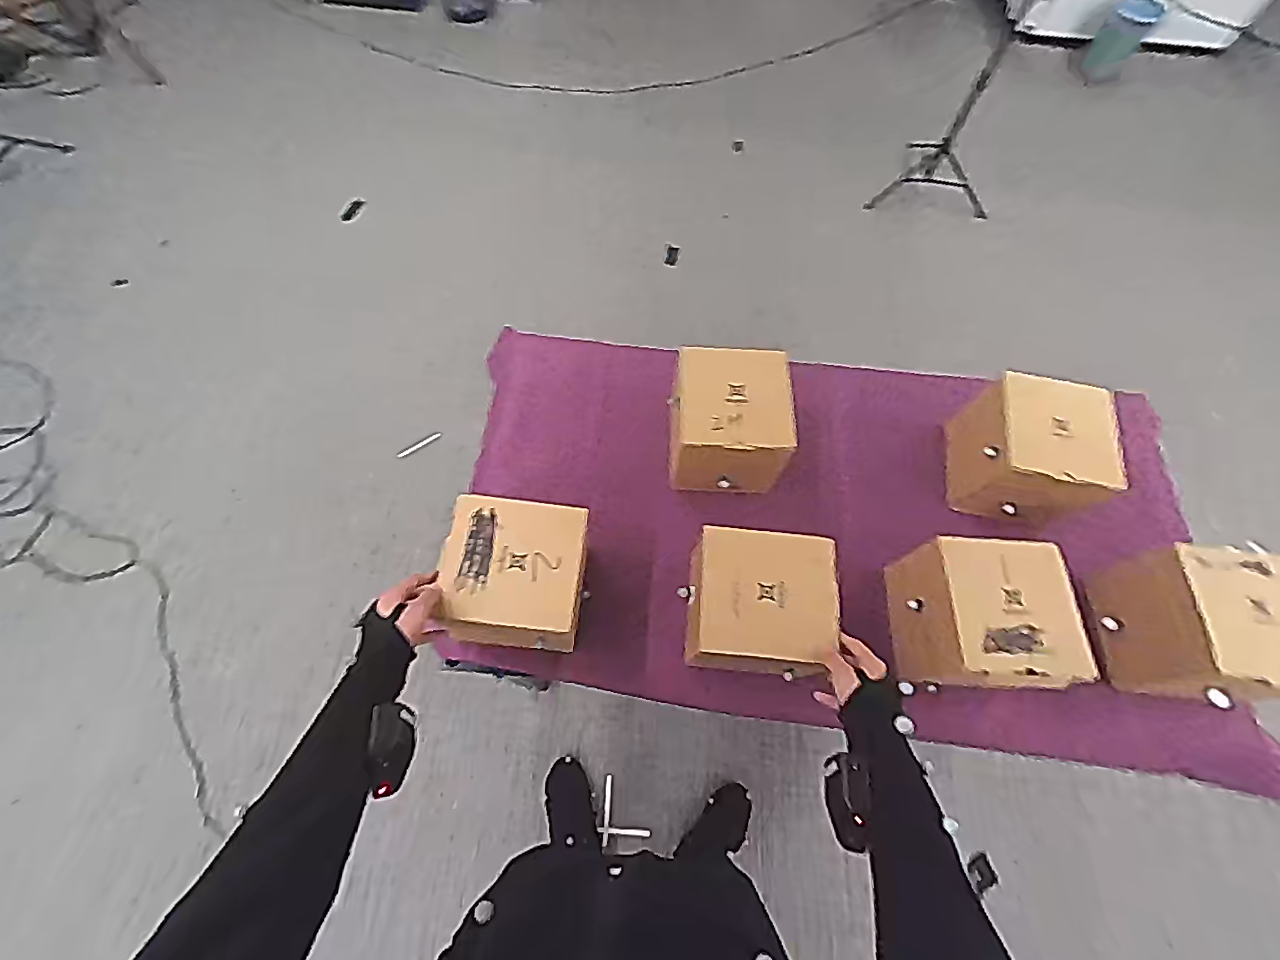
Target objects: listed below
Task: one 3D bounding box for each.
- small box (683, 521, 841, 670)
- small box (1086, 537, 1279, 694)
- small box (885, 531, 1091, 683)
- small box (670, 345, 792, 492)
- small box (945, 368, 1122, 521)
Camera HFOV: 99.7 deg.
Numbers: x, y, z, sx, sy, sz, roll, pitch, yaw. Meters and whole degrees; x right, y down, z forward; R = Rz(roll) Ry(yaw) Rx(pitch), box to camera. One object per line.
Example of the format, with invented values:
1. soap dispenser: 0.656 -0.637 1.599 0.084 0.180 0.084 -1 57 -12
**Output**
1. small box: 0.162 0.169 0.759 0.179 0.176 0.168 5 65 0
2. small box: 0.793 0.199 0.768 0.168 0.176 0.179 7 64 2
3. small box: 0.470 0.186 0.764 0.168 0.176 0.179 4 64 -1
4. small box: 0.137 -0.095 0.884 0.168 0.176 0.179 2 66 -1
5. small box: 0.624 -0.052 0.883 0.168 0.176 0.179 11 67 3
